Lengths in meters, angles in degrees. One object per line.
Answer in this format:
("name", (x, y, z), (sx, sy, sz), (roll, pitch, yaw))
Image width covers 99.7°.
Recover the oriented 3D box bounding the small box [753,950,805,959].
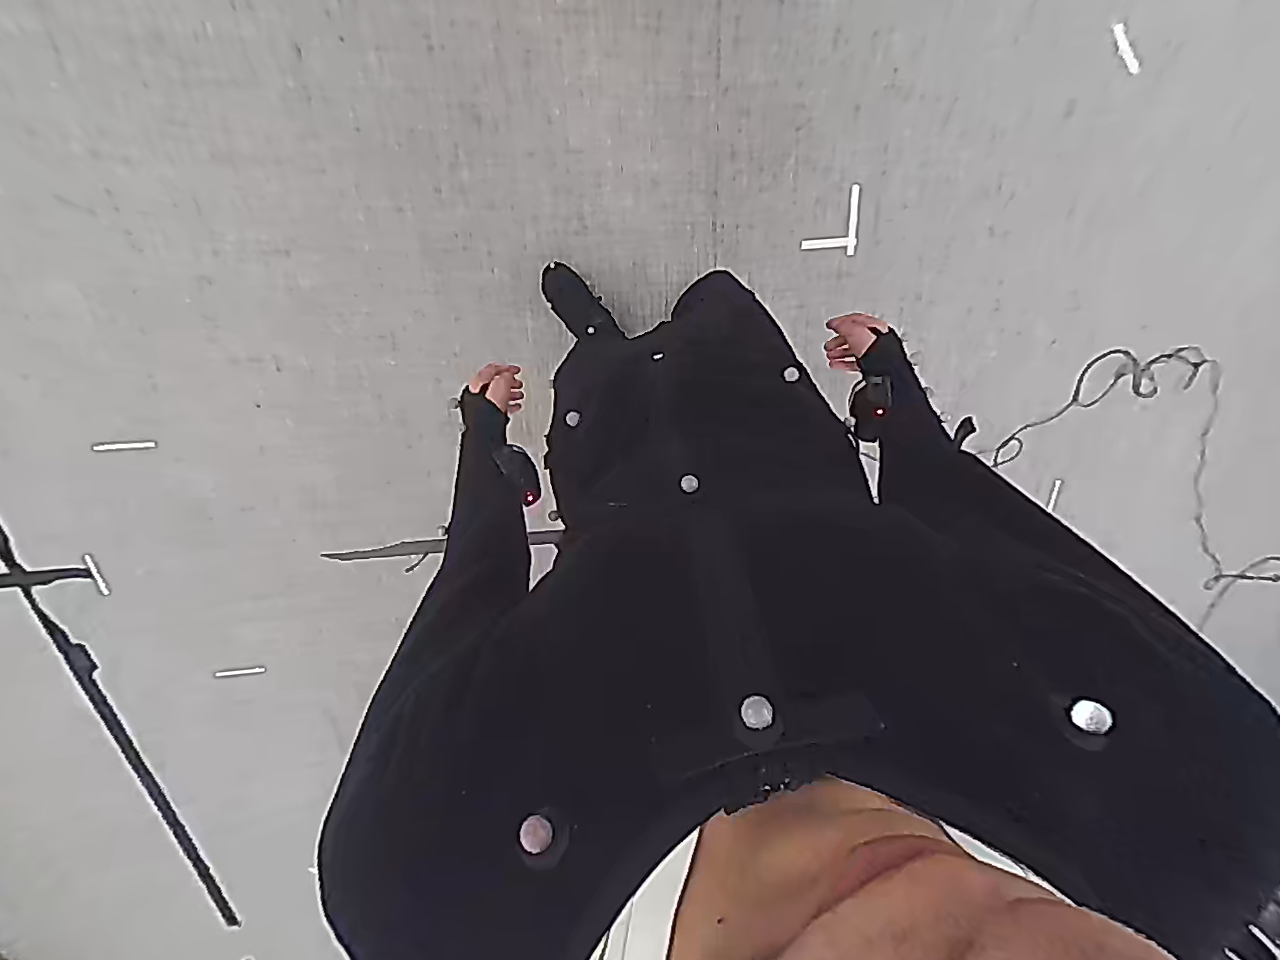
("small box", (0.401, 1.483, 1.533), (0.179, 0.176, 0.168), (-7, 116, -4))
